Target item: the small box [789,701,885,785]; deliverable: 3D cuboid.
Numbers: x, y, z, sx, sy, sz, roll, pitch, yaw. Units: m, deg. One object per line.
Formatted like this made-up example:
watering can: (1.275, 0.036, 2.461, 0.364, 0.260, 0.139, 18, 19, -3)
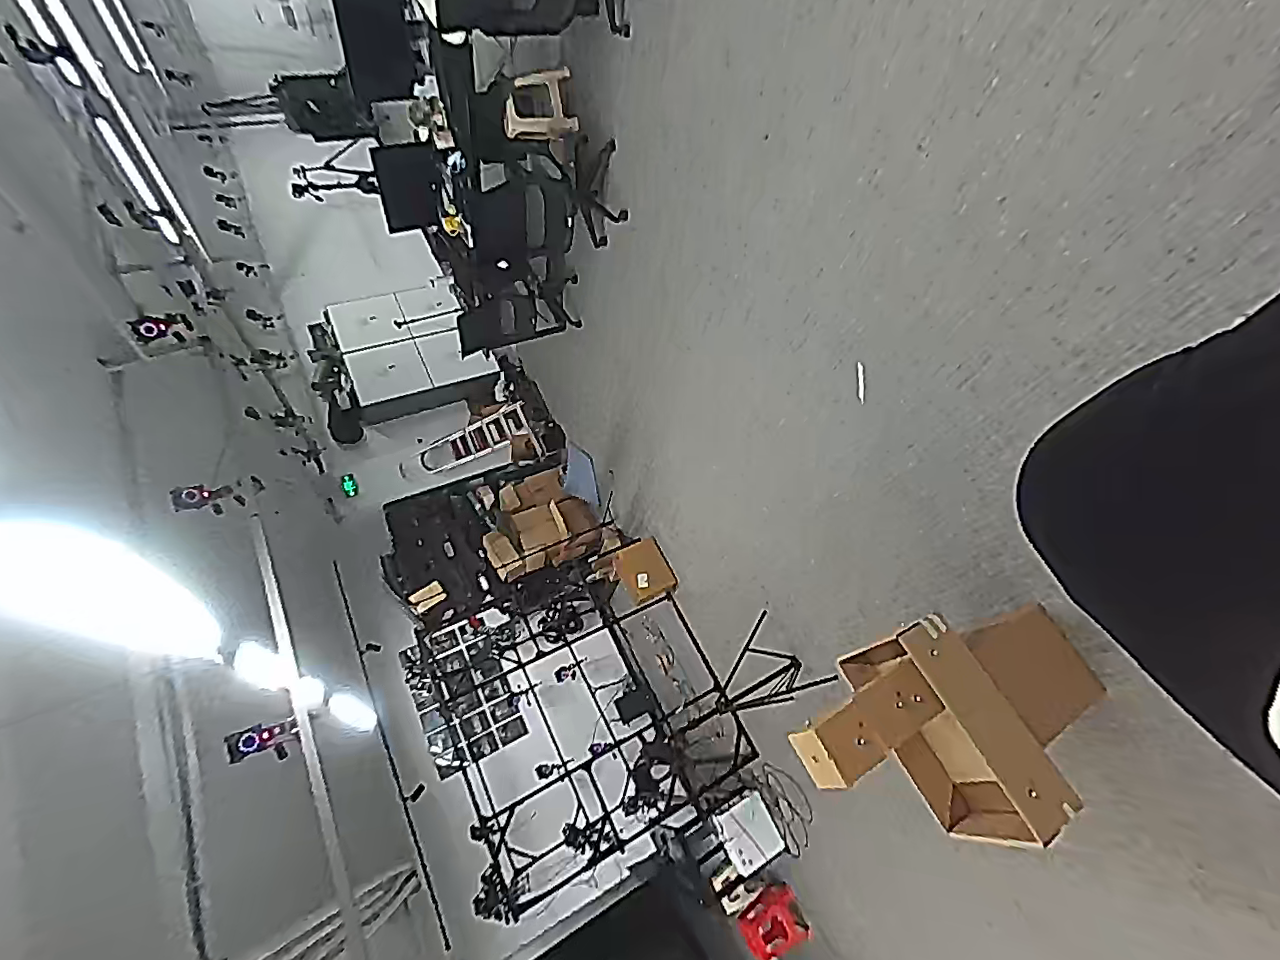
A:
small box: (0.584, 0.781, 1.605, 0.168, 0.176, 0.179, 59, 155, 22)
